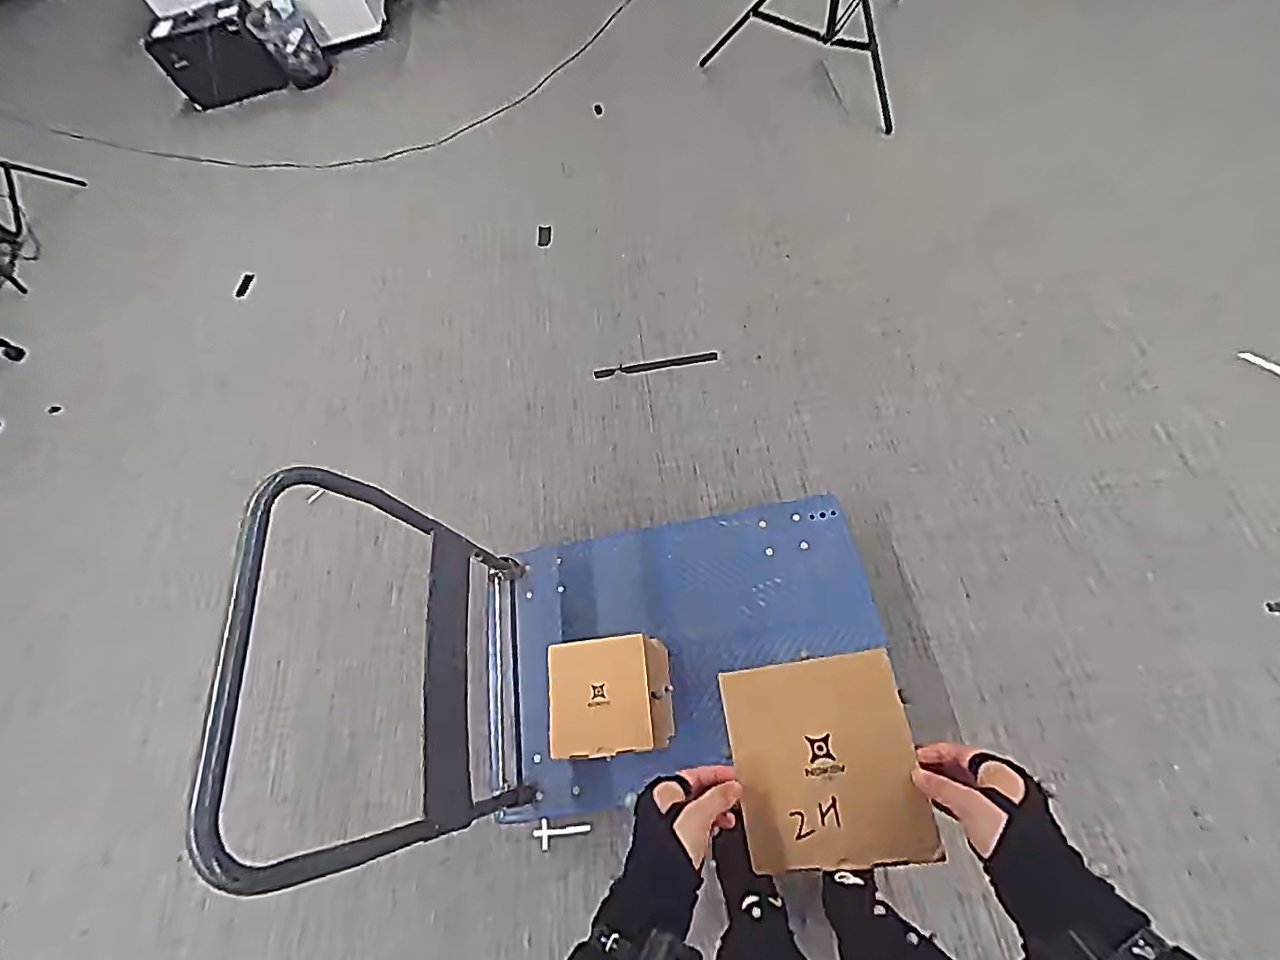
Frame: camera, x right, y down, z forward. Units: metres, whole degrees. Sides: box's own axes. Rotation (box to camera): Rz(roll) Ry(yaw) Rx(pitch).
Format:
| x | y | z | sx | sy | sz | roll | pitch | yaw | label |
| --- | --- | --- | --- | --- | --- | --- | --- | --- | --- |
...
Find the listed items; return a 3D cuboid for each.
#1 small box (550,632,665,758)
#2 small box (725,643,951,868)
| x | y | z | sx | sy | sz | roll | pitch | yaw | label |
| --- | --- | --- | --- | --- | --- | --- | --- | --- | --- |
| -0.052 | 0.372 | 0.934 | 0.168 | 0.176 | 0.179 | -9 | 66 | 6 | small box |
| 0.195 | 0.280 | 0.572 | 0.168 | 0.176 | 0.179 | -14 | 66 | 13 | small box |
